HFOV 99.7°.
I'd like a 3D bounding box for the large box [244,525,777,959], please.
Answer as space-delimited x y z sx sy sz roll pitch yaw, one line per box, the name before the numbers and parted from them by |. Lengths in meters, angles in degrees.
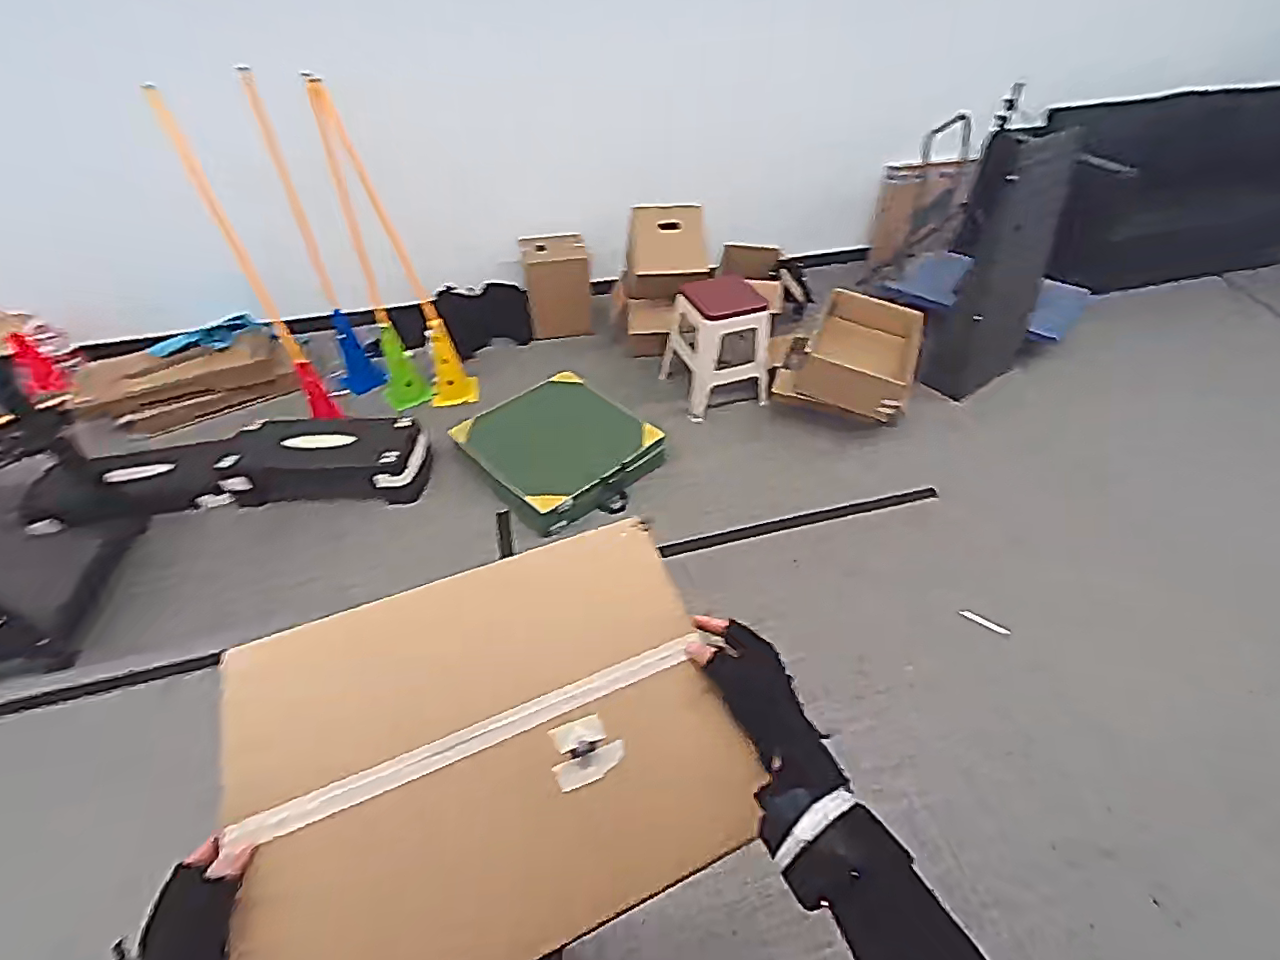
large box | -0.134 0.310 0.592 0.408 0.320 0.320 -17 57 -18
